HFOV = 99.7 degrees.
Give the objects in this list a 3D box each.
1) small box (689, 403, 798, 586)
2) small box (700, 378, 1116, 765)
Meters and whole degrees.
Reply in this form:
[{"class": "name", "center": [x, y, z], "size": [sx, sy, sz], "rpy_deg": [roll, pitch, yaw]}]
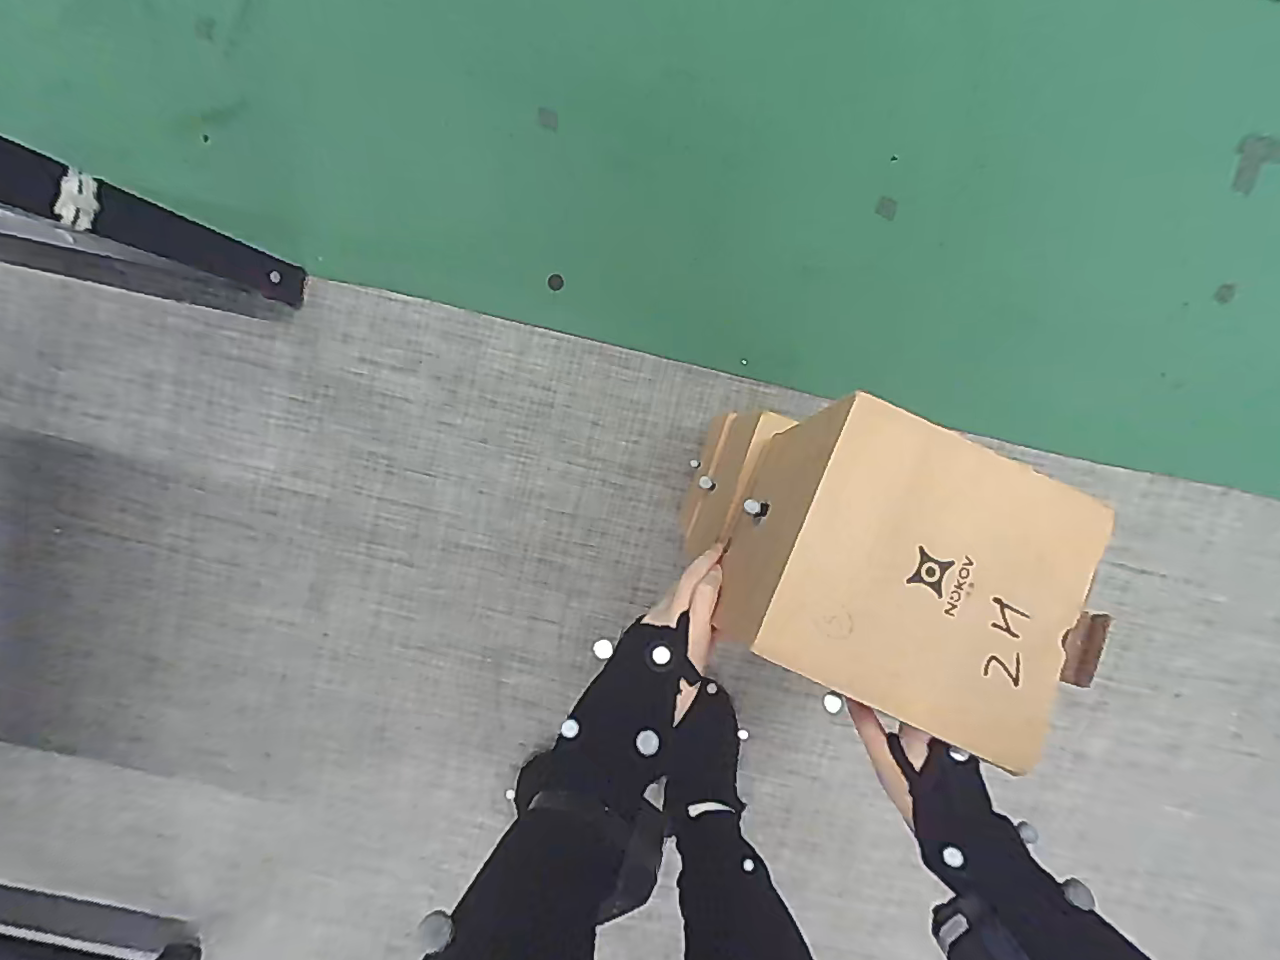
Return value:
[{"class": "small box", "center": [0.155, 0.032, 0.561], "size": [0.168, 0.176, 0.179], "rpy_deg": [19, 96, 0]}, {"class": "small box", "center": [0.159, 0.056, 0.381], "size": [0.179, 0.176, 0.168], "rpy_deg": [25, 84, -2]}]
